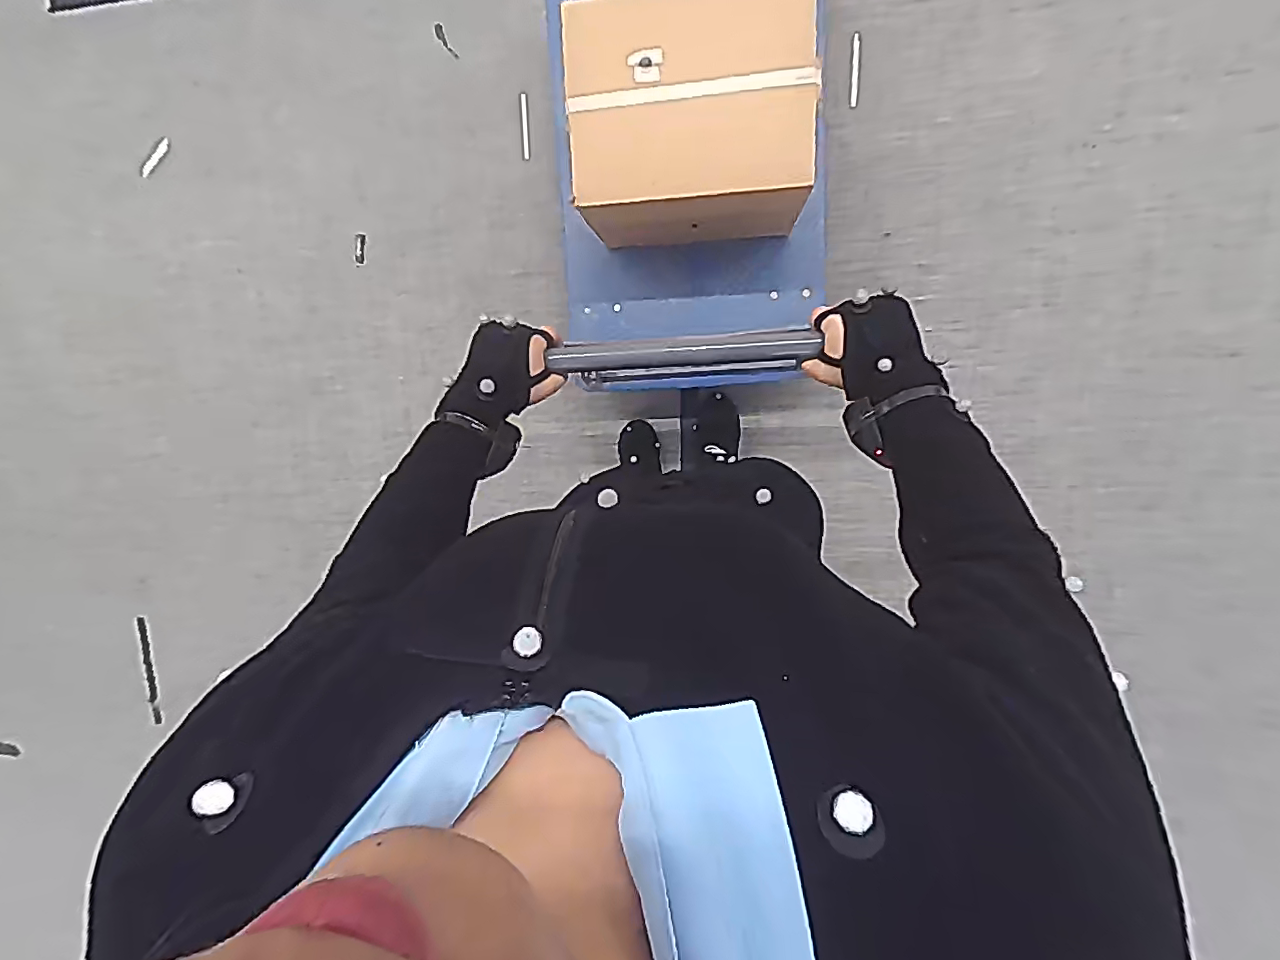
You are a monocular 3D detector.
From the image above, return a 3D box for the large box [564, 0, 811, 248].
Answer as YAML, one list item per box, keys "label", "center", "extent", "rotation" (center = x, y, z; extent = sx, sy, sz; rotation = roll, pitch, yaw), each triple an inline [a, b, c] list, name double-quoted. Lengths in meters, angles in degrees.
- label: "large box"
  center: [0.099, -0.656, 1.039]
  extent: [0.408, 0.320, 0.320]
  rotation: [-1, 99, 9]
